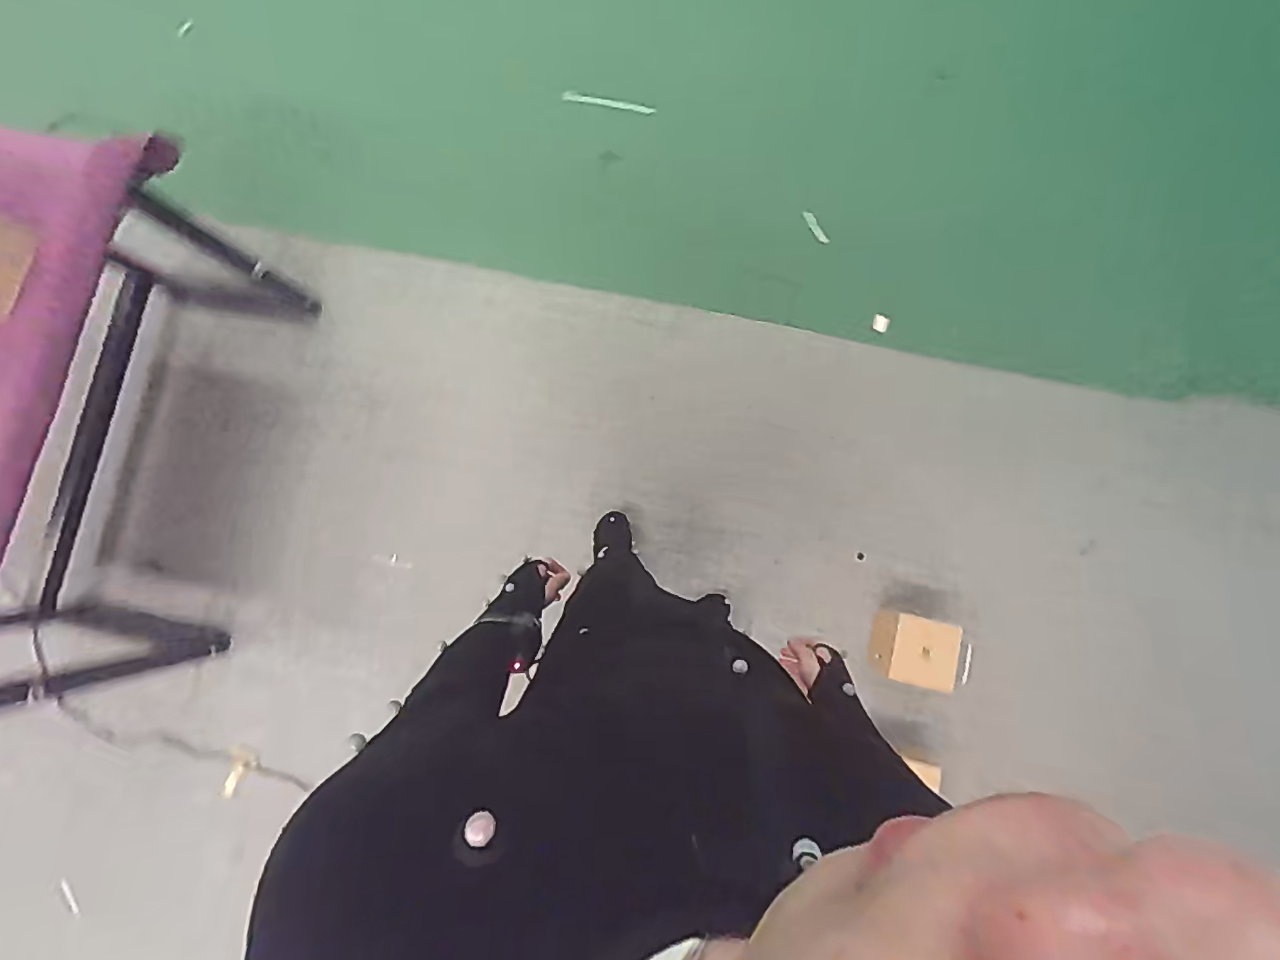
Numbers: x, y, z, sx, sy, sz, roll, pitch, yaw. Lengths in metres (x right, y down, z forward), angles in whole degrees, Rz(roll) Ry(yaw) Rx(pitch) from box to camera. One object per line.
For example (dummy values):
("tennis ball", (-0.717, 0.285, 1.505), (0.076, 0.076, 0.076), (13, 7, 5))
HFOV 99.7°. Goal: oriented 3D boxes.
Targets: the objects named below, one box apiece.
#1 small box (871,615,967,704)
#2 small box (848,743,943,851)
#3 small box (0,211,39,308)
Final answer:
("small box", (0.747, 0.478, 1.468), (0.168, 0.176, 0.179), (14, 84, 5))
("small box", (0.667, 0.825, 1.428), (0.168, 0.176, 0.179), (12, 84, 6))
("small box", (-1.280, -0.440, 0.987), (0.168, 0.176, 0.179), (18, 86, 7))
